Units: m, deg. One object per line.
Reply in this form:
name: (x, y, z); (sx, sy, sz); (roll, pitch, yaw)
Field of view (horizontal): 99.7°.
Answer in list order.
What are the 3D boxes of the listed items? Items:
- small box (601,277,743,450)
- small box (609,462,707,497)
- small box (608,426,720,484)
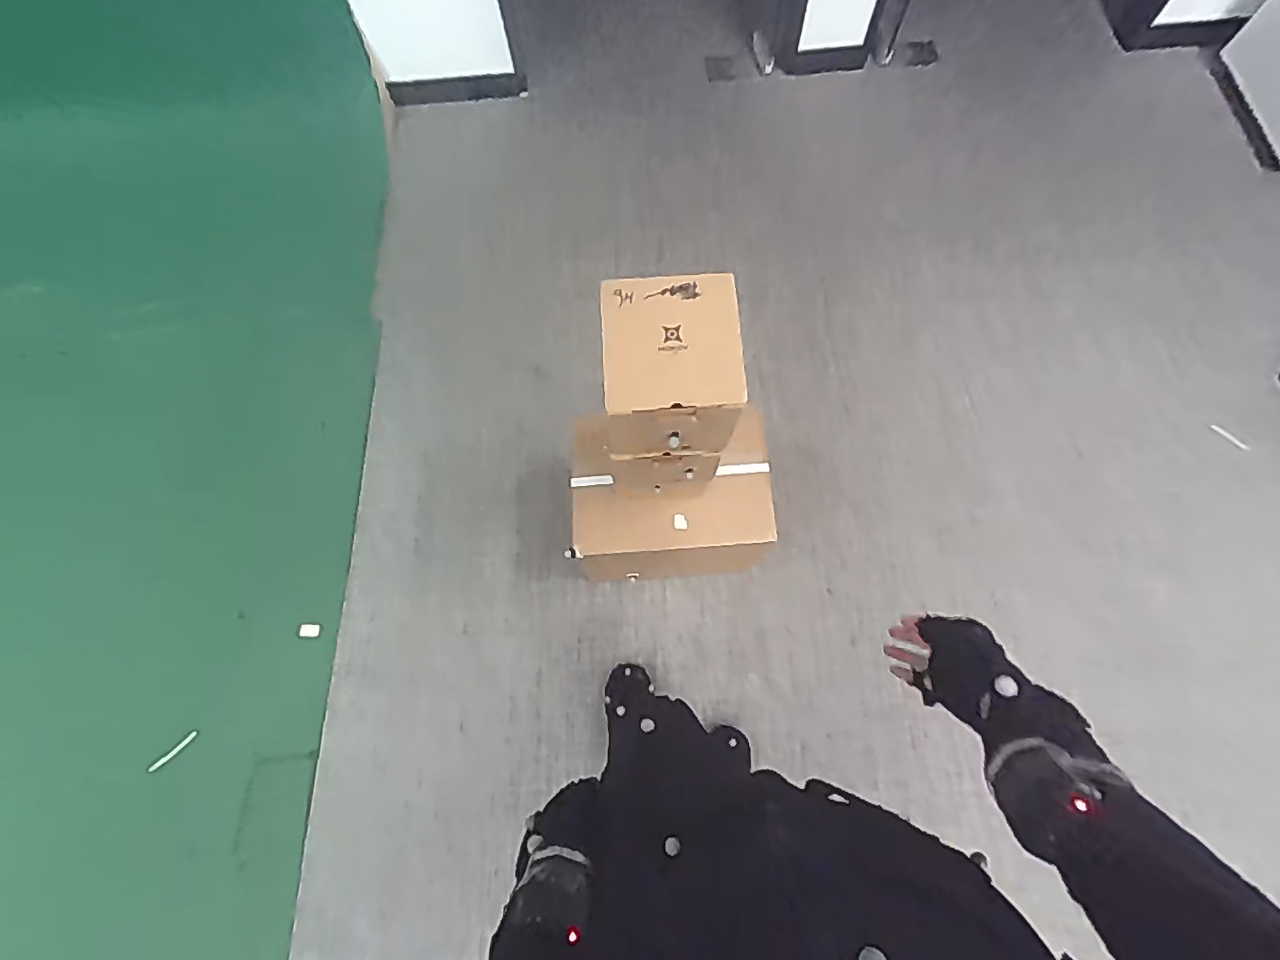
small box: (0.038, -0.143, 0.721); (0.168, 0.176, 0.179); (-3, 77, 0)
small box: (0.039, -0.068, 1.036); (0.179, 0.176, 0.168); (3, 74, 2)
small box: (0.034, -0.095, 0.878); (0.168, 0.176, 0.179); (-3, 75, -1)
